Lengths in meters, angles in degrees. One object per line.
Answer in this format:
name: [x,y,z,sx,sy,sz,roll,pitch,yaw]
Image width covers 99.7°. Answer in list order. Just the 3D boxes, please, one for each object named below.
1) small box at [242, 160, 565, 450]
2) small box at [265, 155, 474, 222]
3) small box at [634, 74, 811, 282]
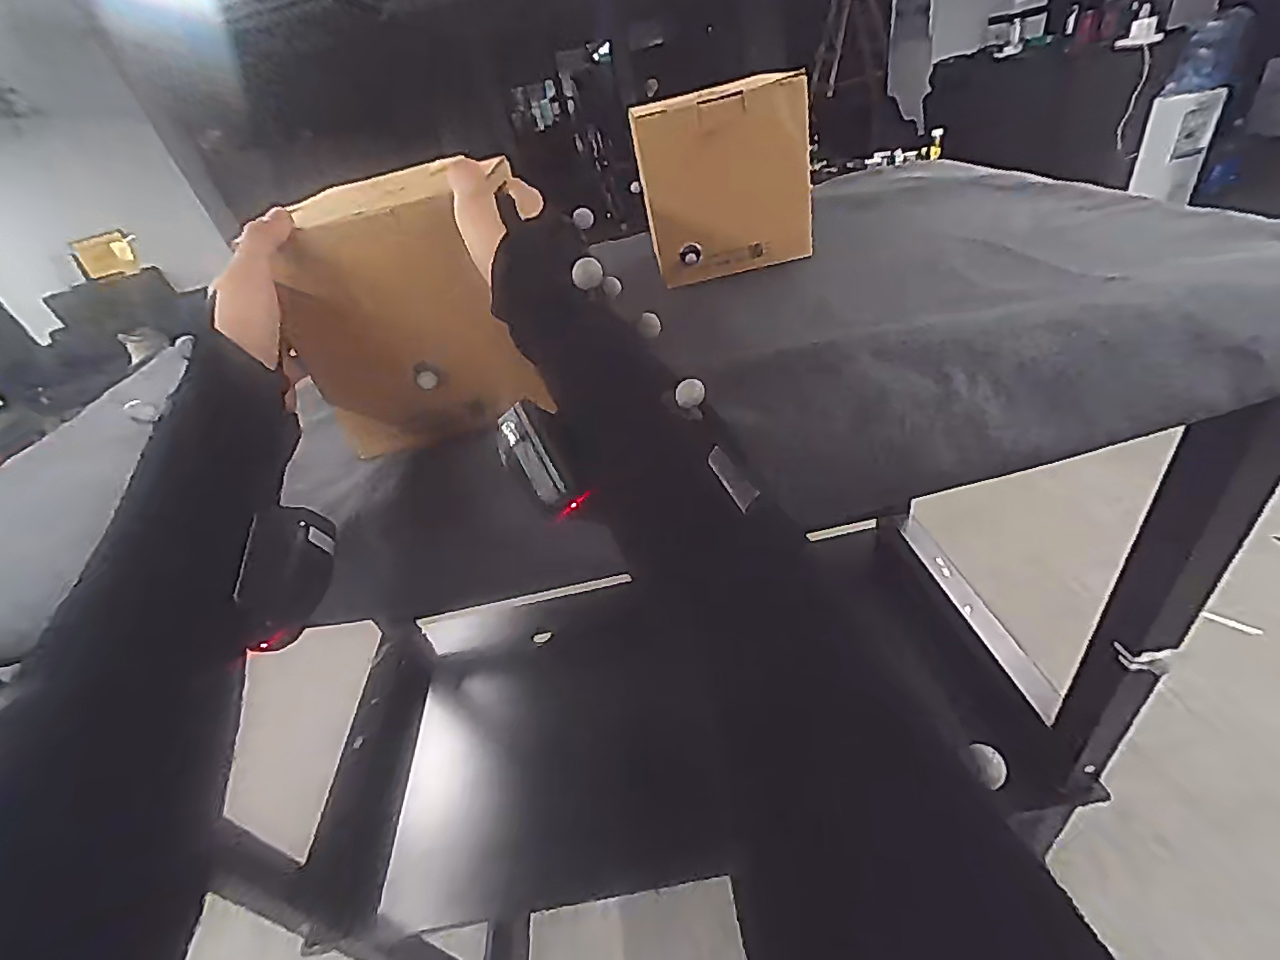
small box: [-0.164,-0.149,0.450,0.168,0.176,0.179,-13,35,2]
small box: [-0.263,-0.249,0.621,0.179,0.176,0.168,-10,37,7]
small box: [0.091,-0.340,0.618,0.168,0.176,0.179,-11,36,5]
